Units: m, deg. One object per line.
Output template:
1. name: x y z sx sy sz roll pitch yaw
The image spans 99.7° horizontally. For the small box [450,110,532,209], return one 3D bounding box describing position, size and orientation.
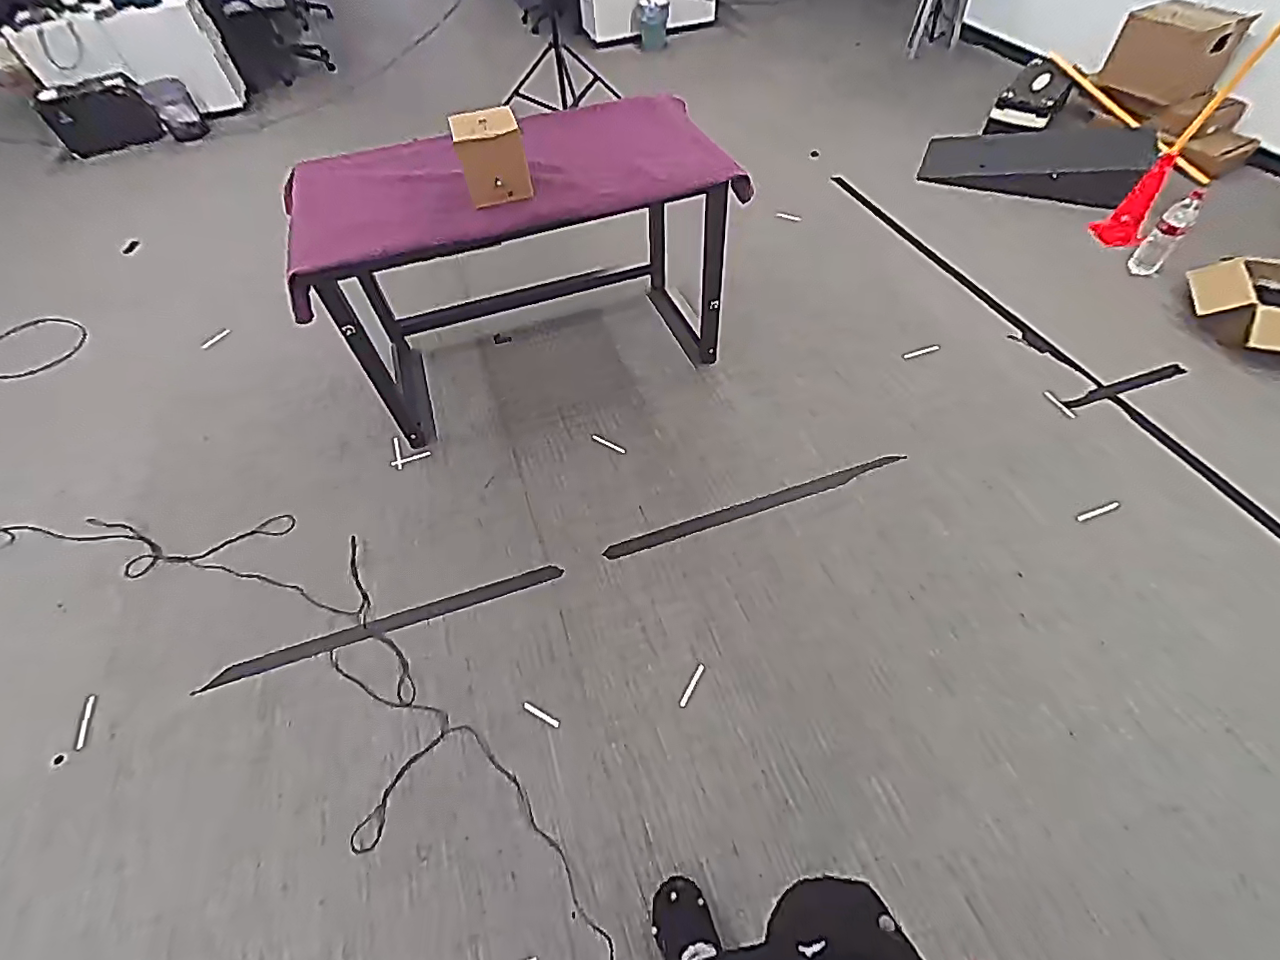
1. small box: -0.398 -0.859 1.452 0.168 0.176 0.179 -16 54 -7
